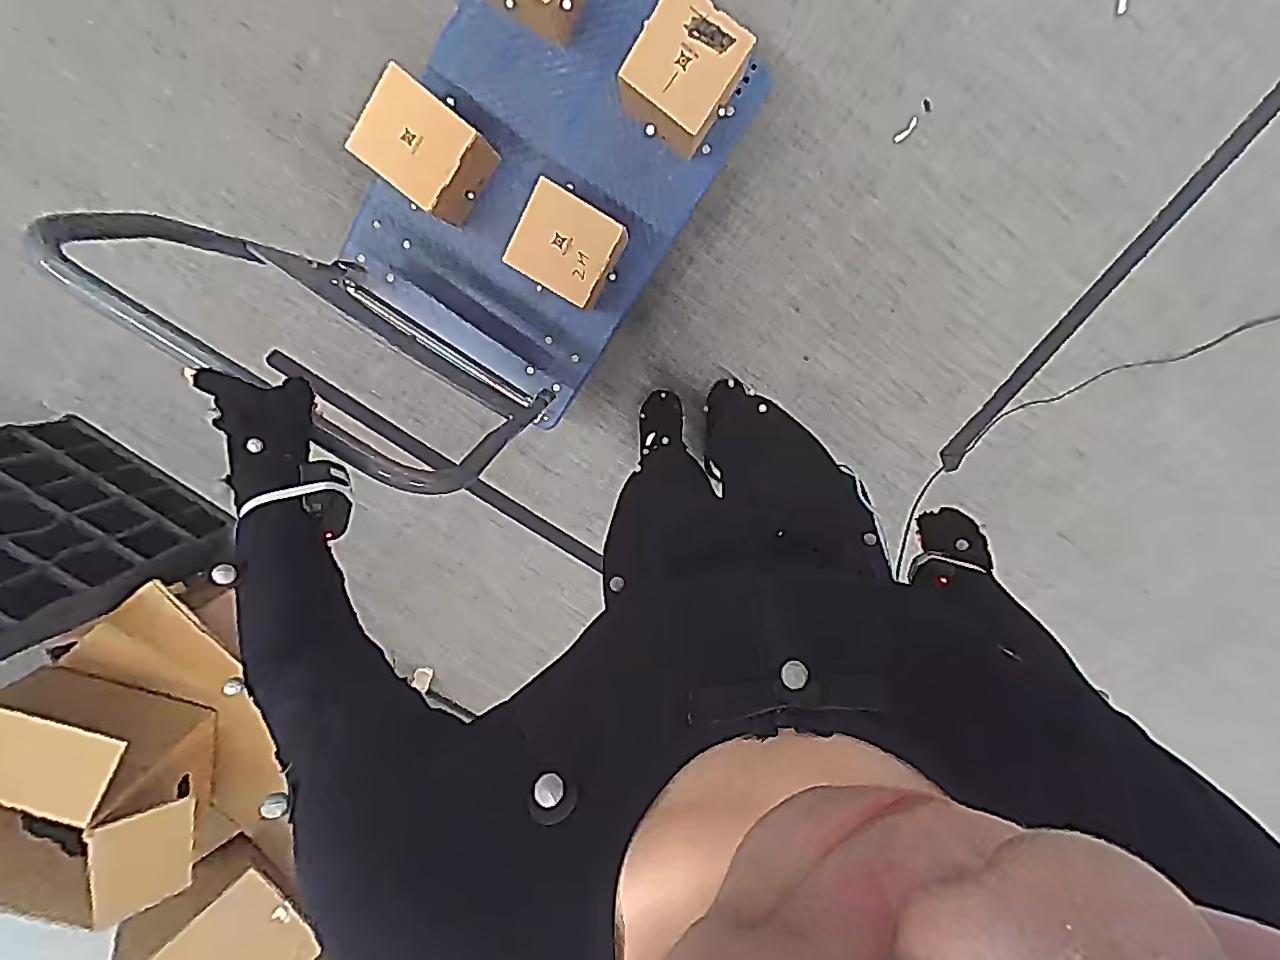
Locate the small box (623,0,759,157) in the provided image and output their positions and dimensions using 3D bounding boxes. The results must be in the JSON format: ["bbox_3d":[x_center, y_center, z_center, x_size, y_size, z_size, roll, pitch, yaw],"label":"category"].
[{"bbox_3d":[0.084,-0.730,0.977,0.168,0.176,0.179,34,106,-9],"label":"small box"}]

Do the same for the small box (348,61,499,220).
[{"bbox_3d":[-0.395,-0.619,1.018,0.179,0.176,0.168,36,103,-11],"label":"small box"}]

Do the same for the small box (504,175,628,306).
[{"bbox_3d":[-0.137,-0.455,1.064,0.179,0.176,0.168,29,105,-8],"label":"small box"}]
